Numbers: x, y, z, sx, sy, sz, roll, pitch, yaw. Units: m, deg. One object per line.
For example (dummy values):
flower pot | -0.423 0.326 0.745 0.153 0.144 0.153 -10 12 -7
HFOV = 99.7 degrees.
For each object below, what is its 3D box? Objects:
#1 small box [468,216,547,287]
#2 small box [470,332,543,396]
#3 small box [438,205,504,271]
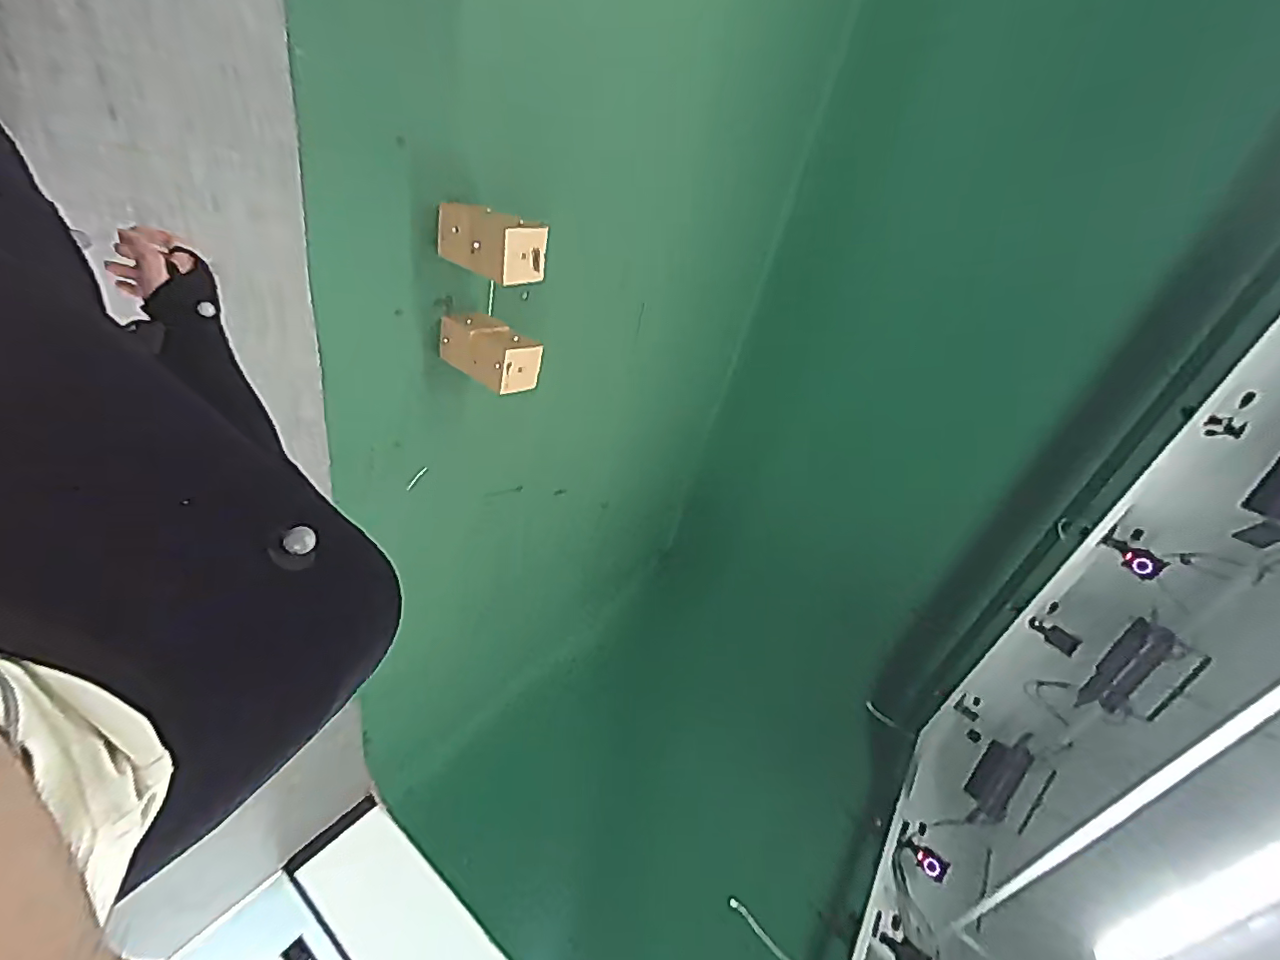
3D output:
small box | -0.420 -0.726 1.709 0.179 0.176 0.168 -29 142 -45
small box | -0.481 -0.422 1.938 0.179 0.176 0.168 -26 140 -51
small box | -0.547 -0.798 1.787 0.179 0.176 0.168 -29 142 -49
